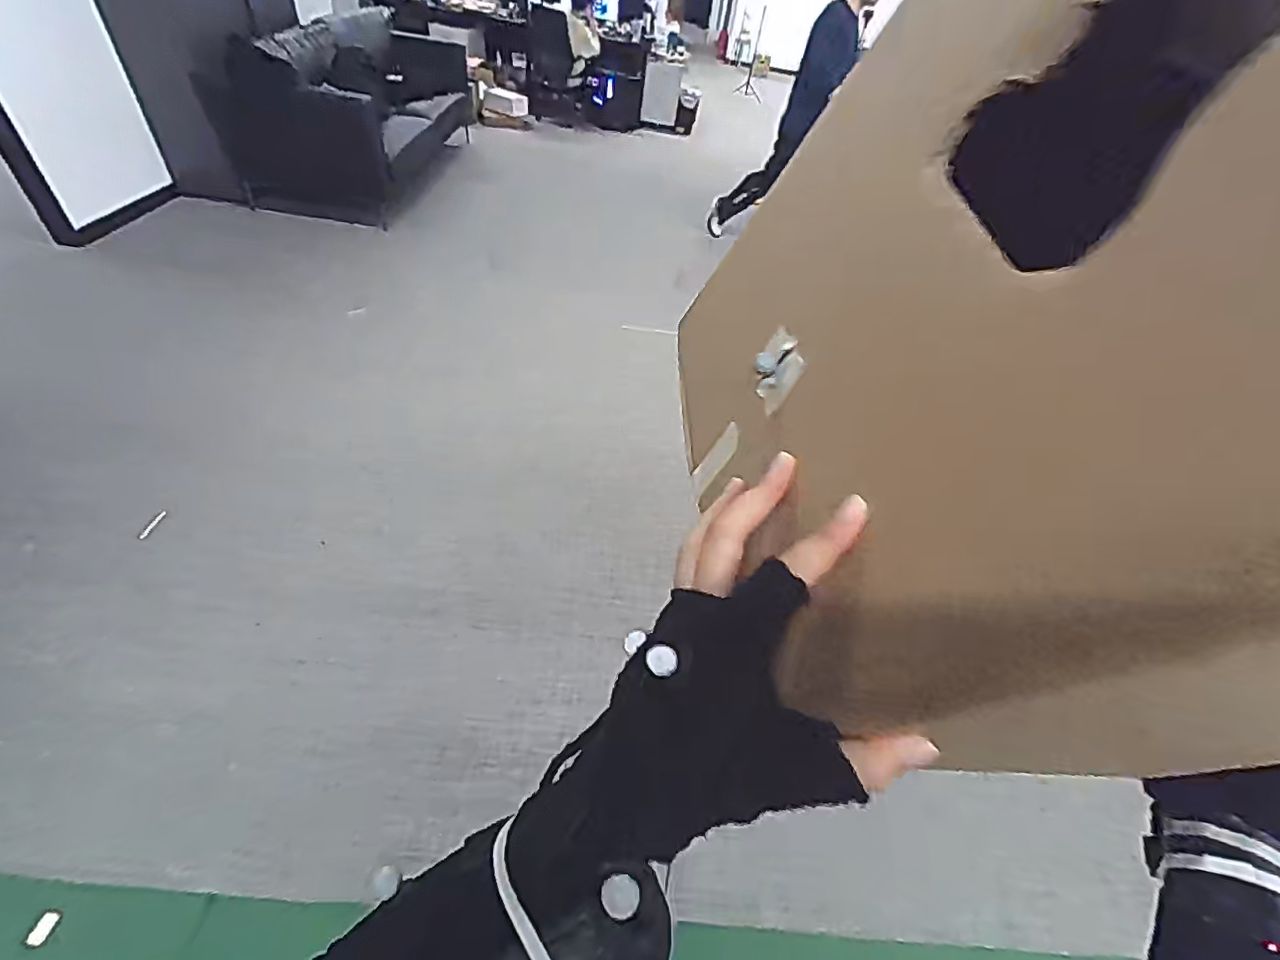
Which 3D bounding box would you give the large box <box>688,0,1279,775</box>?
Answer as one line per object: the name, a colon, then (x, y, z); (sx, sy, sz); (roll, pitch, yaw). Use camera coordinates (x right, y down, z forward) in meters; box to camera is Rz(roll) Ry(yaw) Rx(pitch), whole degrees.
large box: (0.286, -0.022, 0.318); (0.408, 0.320, 0.320); (15, 52, -25)
